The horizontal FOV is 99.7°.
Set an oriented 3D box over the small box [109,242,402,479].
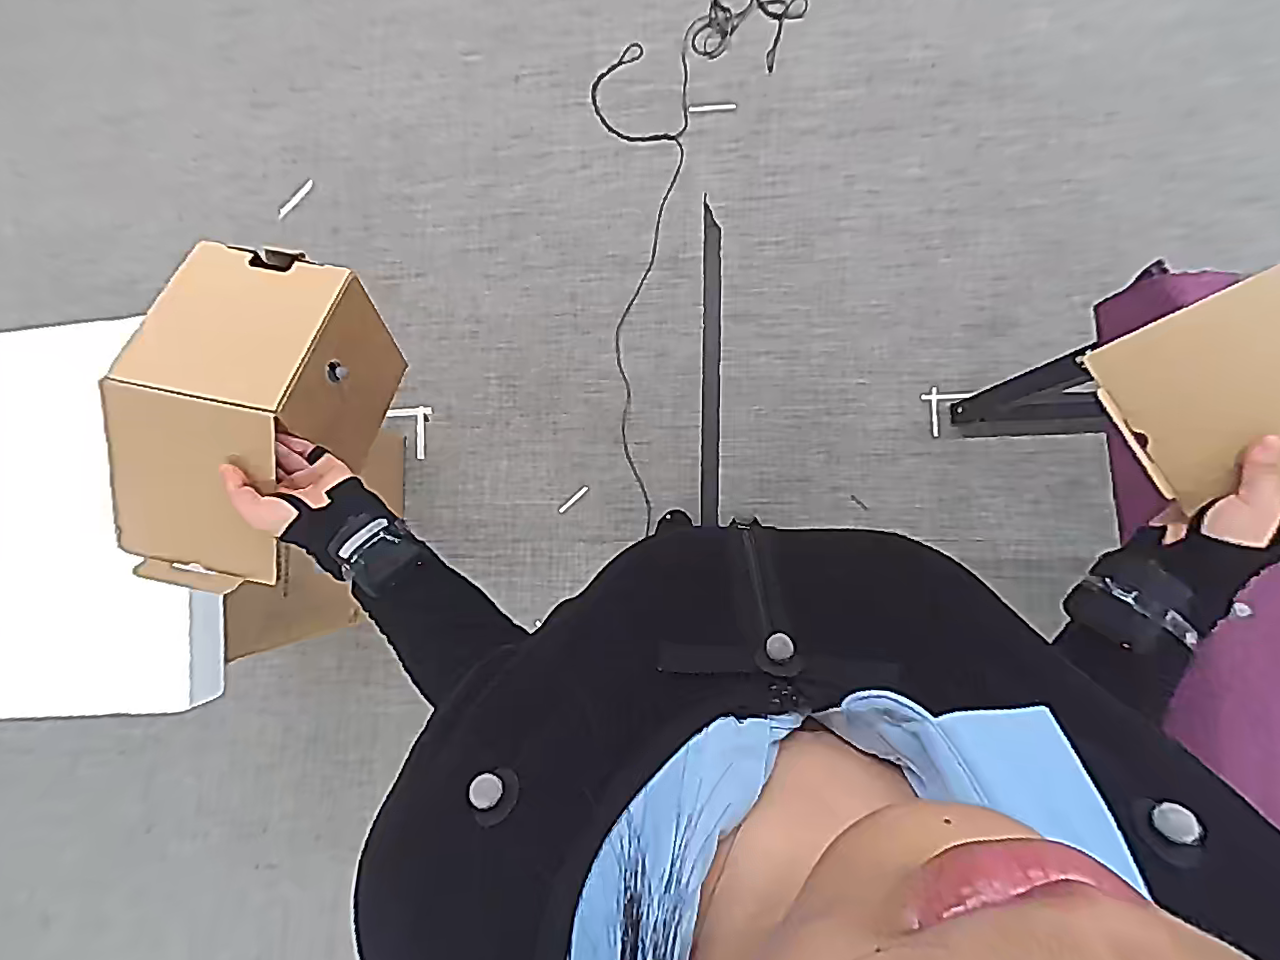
[{"bbox_3d":[-0.390,-0.120,0.593,0.168,0.176,0.179,12,66,2],"label":"small box"}]
